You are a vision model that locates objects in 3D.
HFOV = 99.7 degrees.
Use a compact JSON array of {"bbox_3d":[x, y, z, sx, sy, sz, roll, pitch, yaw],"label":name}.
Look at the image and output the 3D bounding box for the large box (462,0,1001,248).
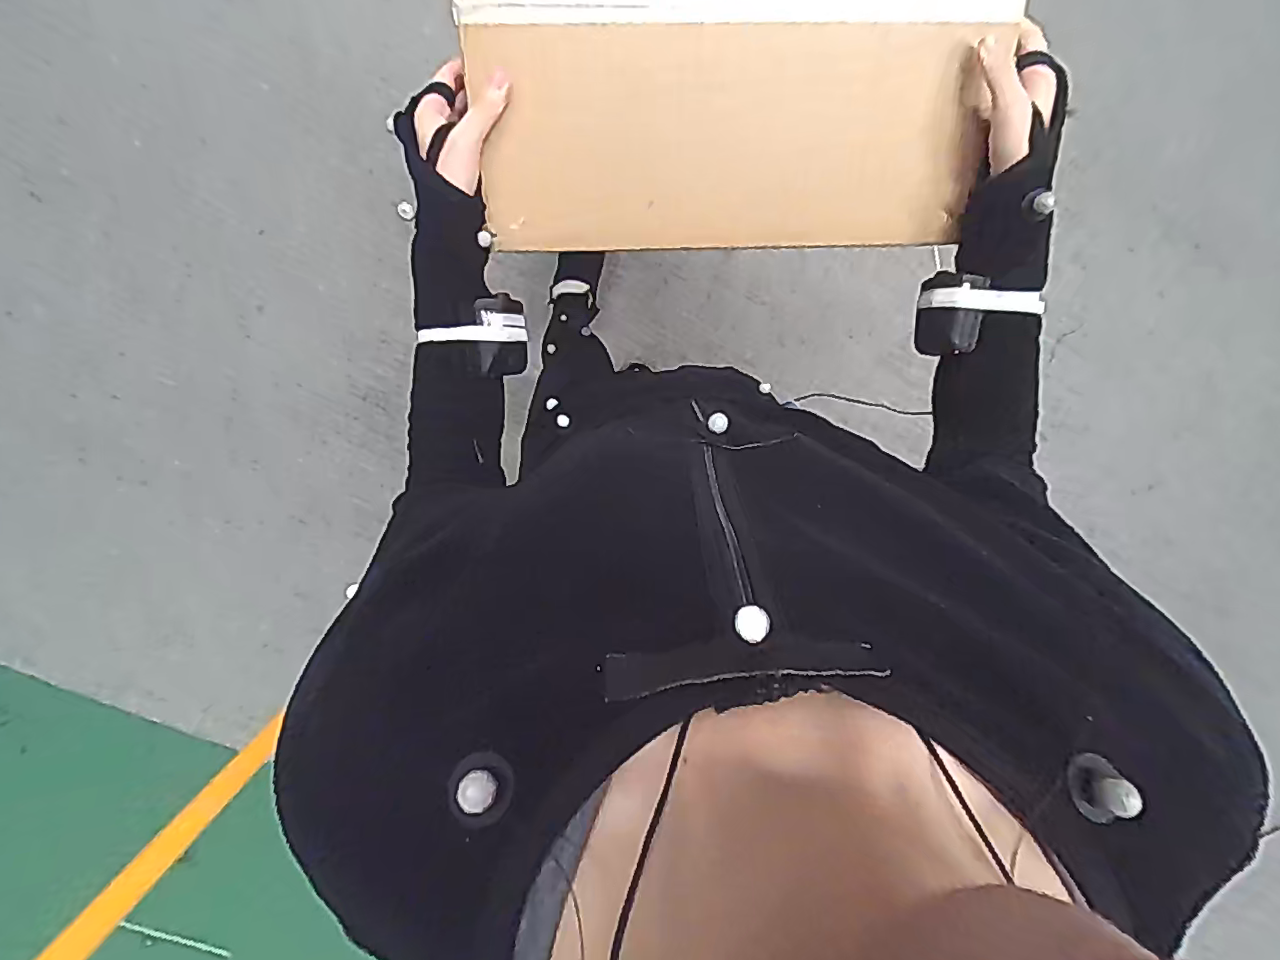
[{"bbox_3d":[0.065,-0.417,0.526,0.408,0.320,0.320,-2,119,-2],"label":"large box"}]
